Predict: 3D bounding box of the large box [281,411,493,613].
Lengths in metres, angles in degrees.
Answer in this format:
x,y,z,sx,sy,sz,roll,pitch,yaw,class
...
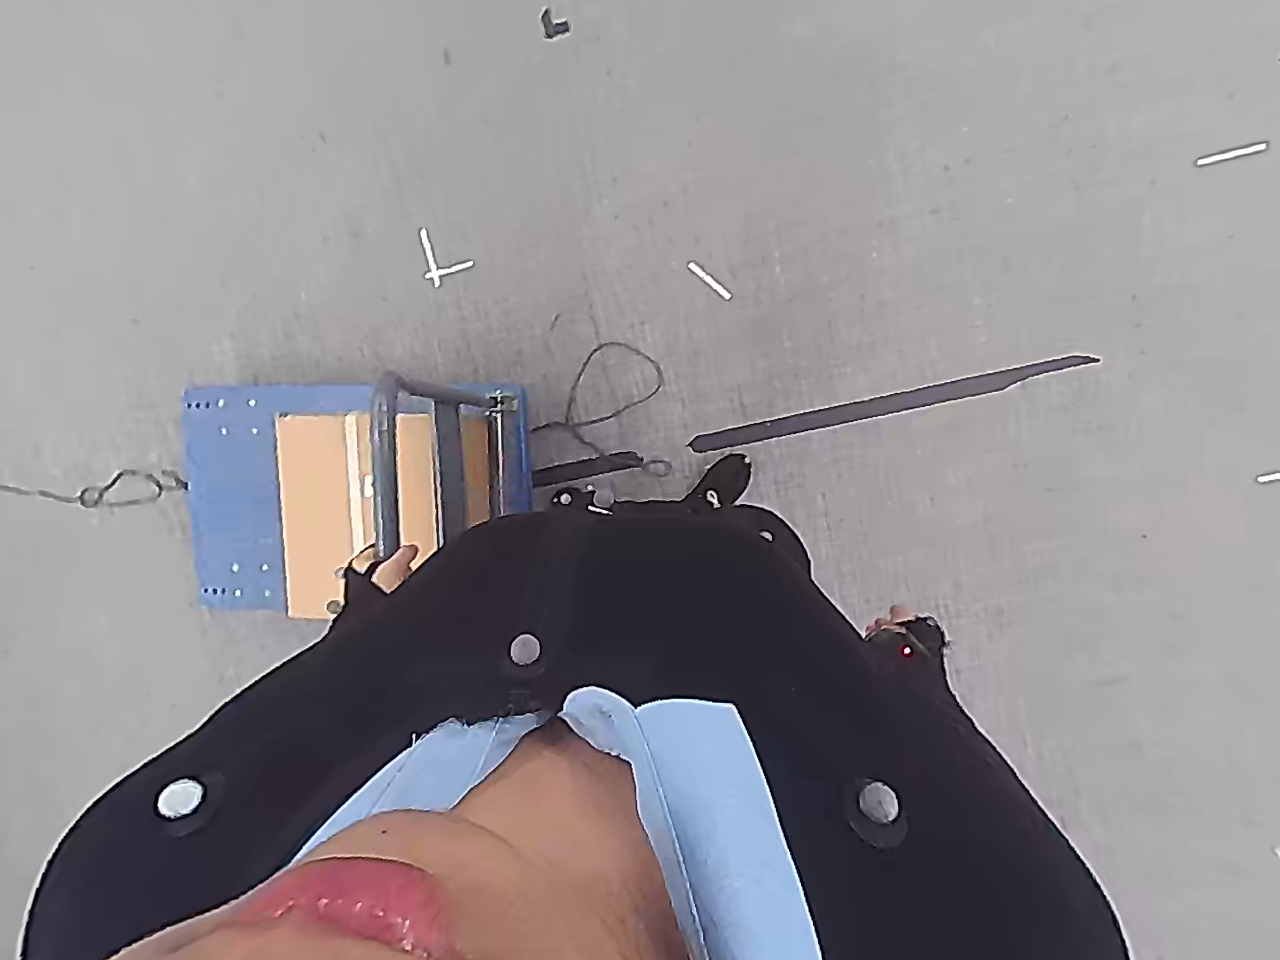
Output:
x,y,z,sx,sy,sz,roll,pitch,yaw,class
-0.533,0.057,1.207,0.320,0.320,0.408,0,95,3,large box
